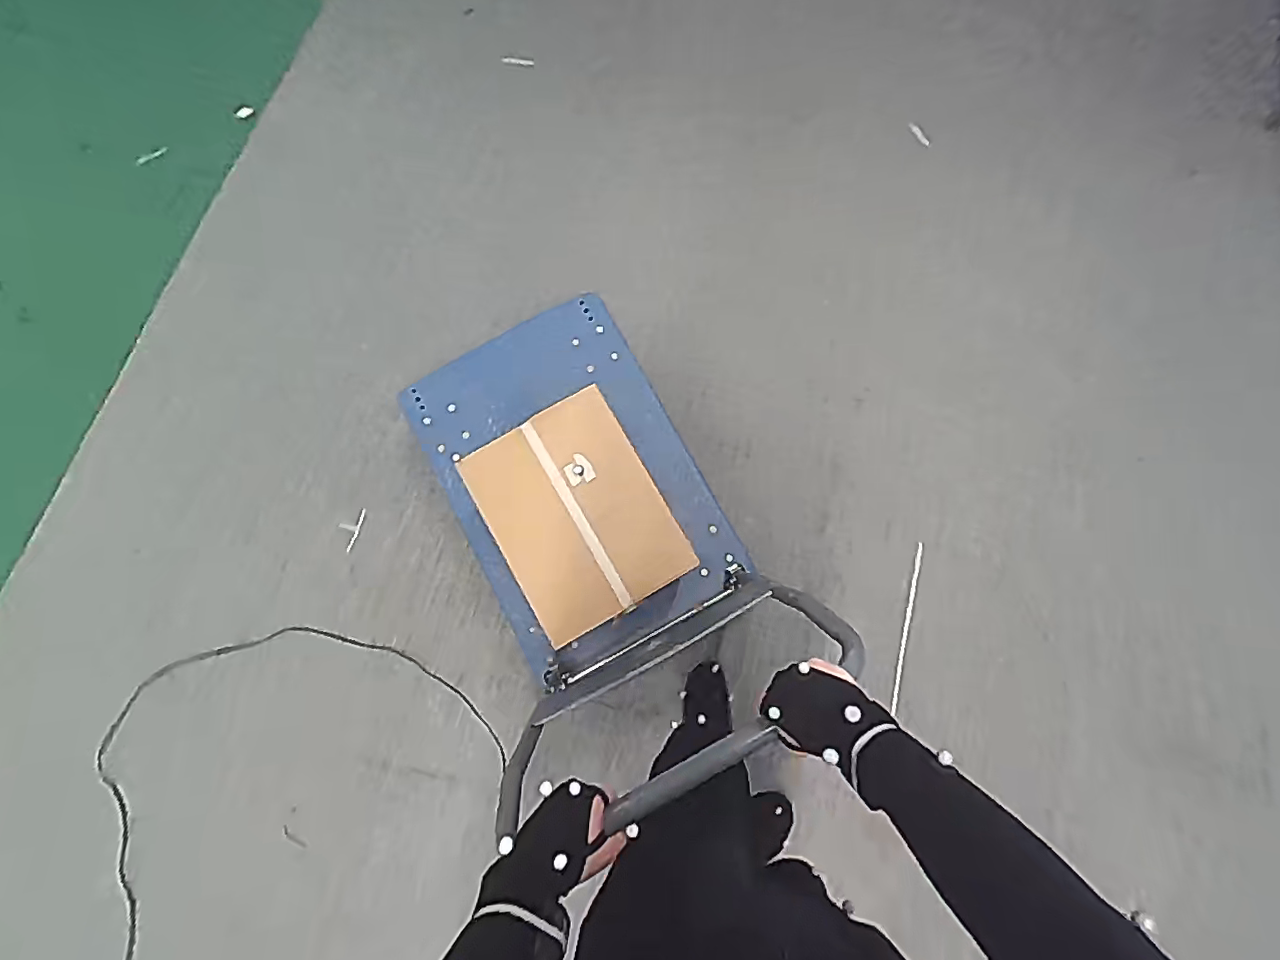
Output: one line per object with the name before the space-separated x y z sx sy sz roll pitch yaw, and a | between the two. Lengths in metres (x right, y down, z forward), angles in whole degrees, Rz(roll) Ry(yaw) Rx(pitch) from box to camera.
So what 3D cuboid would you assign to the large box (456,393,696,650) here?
large box | -0.119 0.091 1.172 0.320 0.320 0.408 -31 83 -3
